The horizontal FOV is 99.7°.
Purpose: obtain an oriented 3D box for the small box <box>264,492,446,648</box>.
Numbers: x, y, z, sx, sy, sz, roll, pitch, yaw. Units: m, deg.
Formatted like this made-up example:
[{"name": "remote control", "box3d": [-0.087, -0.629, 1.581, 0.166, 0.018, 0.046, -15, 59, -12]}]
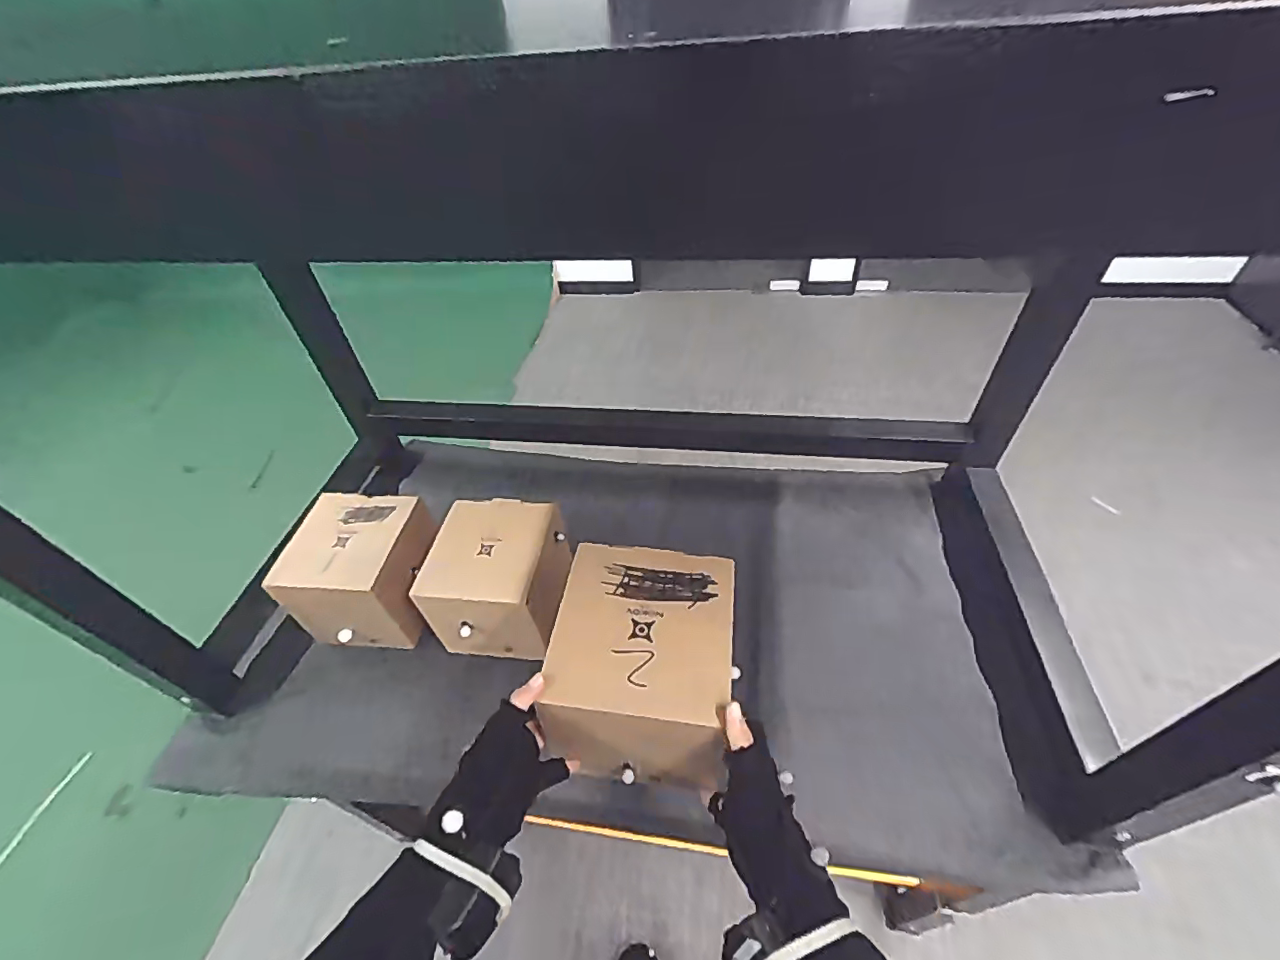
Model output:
[{"name": "small box", "box3d": [-0.427, 0.140, 0.852, 0.168, 0.176, 0.179, 2, 46, 8]}]
